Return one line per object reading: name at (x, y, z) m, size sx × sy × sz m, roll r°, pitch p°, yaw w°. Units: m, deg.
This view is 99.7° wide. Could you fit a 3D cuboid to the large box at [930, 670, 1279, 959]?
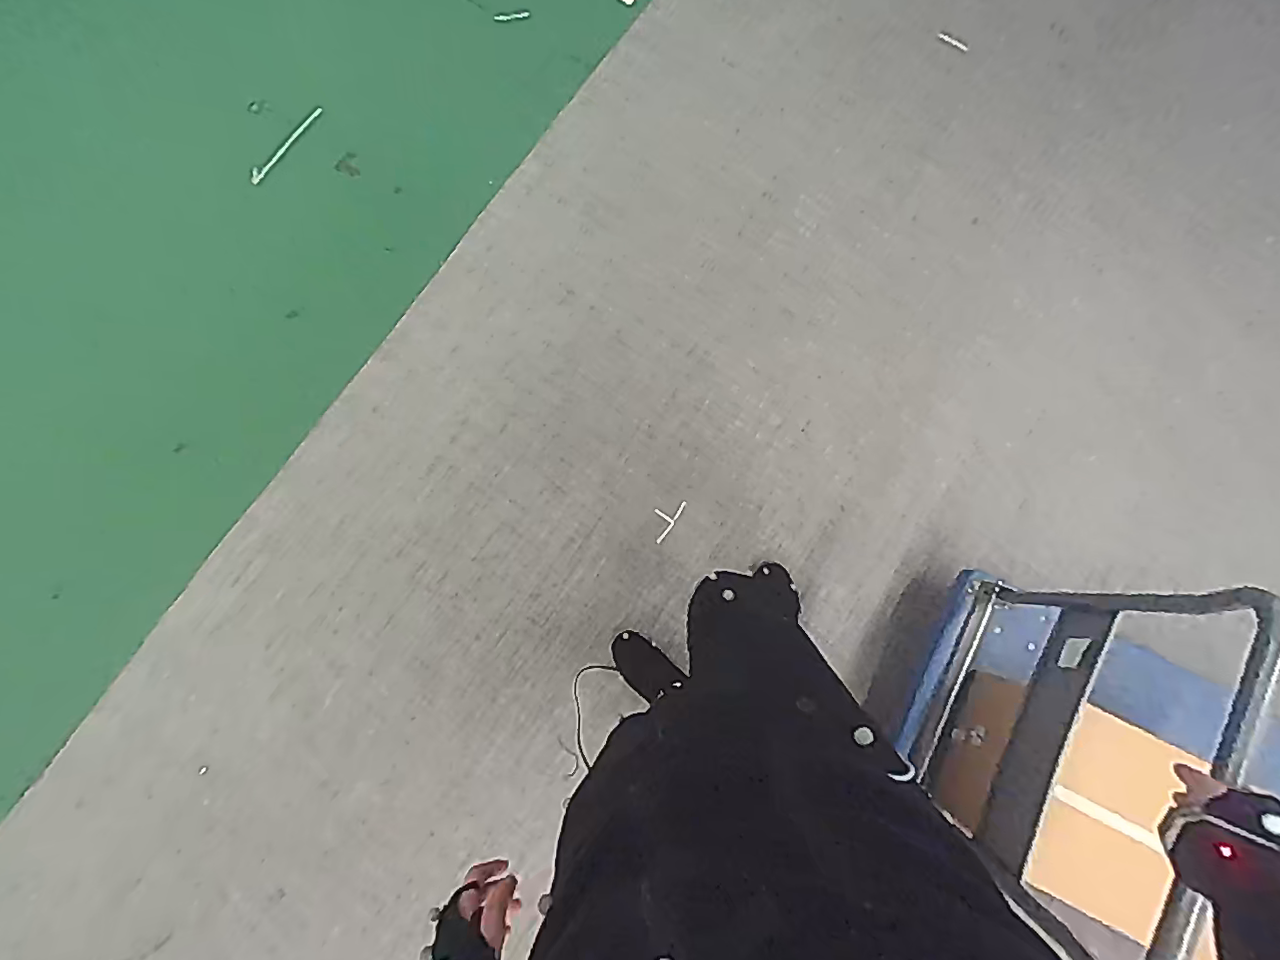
large box at (0.874, 0.620, 1.053) m, size 0.408 × 0.320 × 0.320 m, roll 26°, pitch 82°, yaw 5°
